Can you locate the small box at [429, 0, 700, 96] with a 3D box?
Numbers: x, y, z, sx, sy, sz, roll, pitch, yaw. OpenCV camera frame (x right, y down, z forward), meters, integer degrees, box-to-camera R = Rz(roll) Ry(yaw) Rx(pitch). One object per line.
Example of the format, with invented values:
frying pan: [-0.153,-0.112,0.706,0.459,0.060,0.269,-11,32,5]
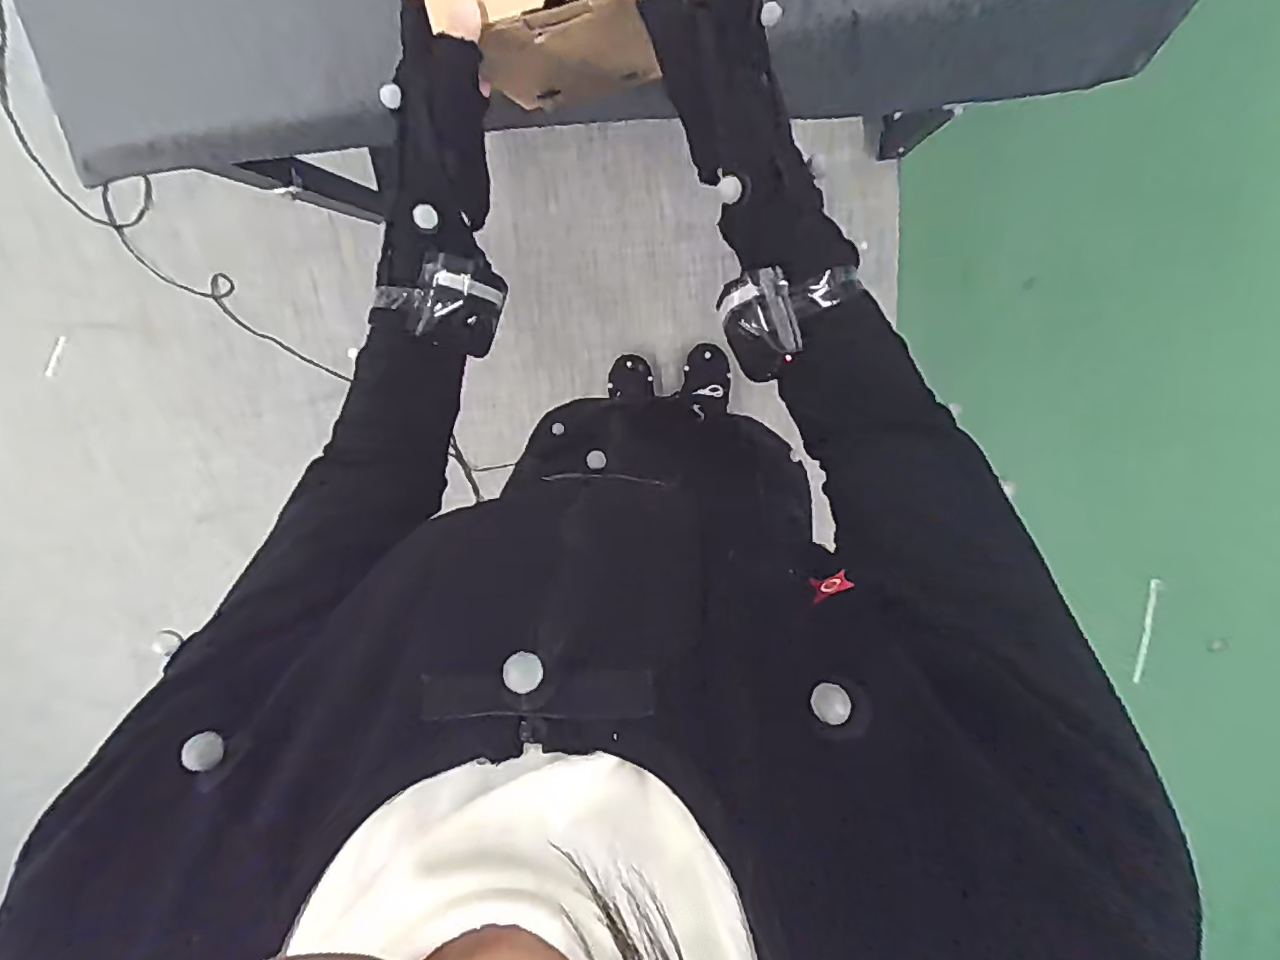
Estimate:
small box: [-0.049,-0.399,0.380,0.168,0.176,0.179,-4,110,11]
